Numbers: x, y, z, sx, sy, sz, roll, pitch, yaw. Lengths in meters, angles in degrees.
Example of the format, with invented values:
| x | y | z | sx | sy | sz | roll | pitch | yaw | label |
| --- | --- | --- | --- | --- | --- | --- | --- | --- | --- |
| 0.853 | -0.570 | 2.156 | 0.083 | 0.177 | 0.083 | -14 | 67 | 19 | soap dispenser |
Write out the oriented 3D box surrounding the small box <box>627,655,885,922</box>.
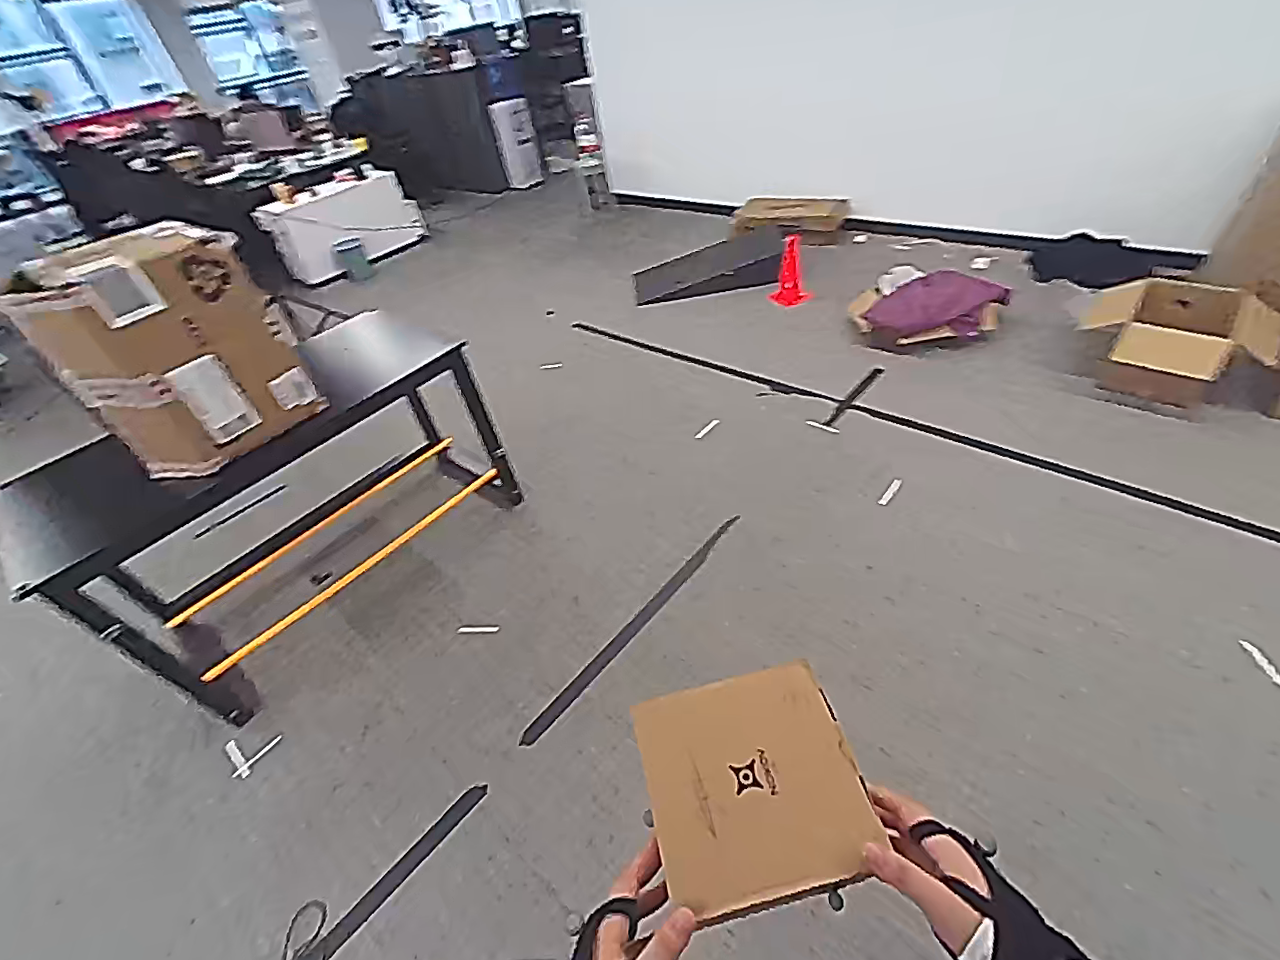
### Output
| x | y | z | sx | sy | sz | roll | pitch | yaw | label |
| --- | --- | --- | --- | --- | --- | --- | --- | --- | --- |
| 0.098 | 0.298 | 0.520 | 0.179 | 0.176 | 0.168 | -16 | 48 | -3 | small box |
